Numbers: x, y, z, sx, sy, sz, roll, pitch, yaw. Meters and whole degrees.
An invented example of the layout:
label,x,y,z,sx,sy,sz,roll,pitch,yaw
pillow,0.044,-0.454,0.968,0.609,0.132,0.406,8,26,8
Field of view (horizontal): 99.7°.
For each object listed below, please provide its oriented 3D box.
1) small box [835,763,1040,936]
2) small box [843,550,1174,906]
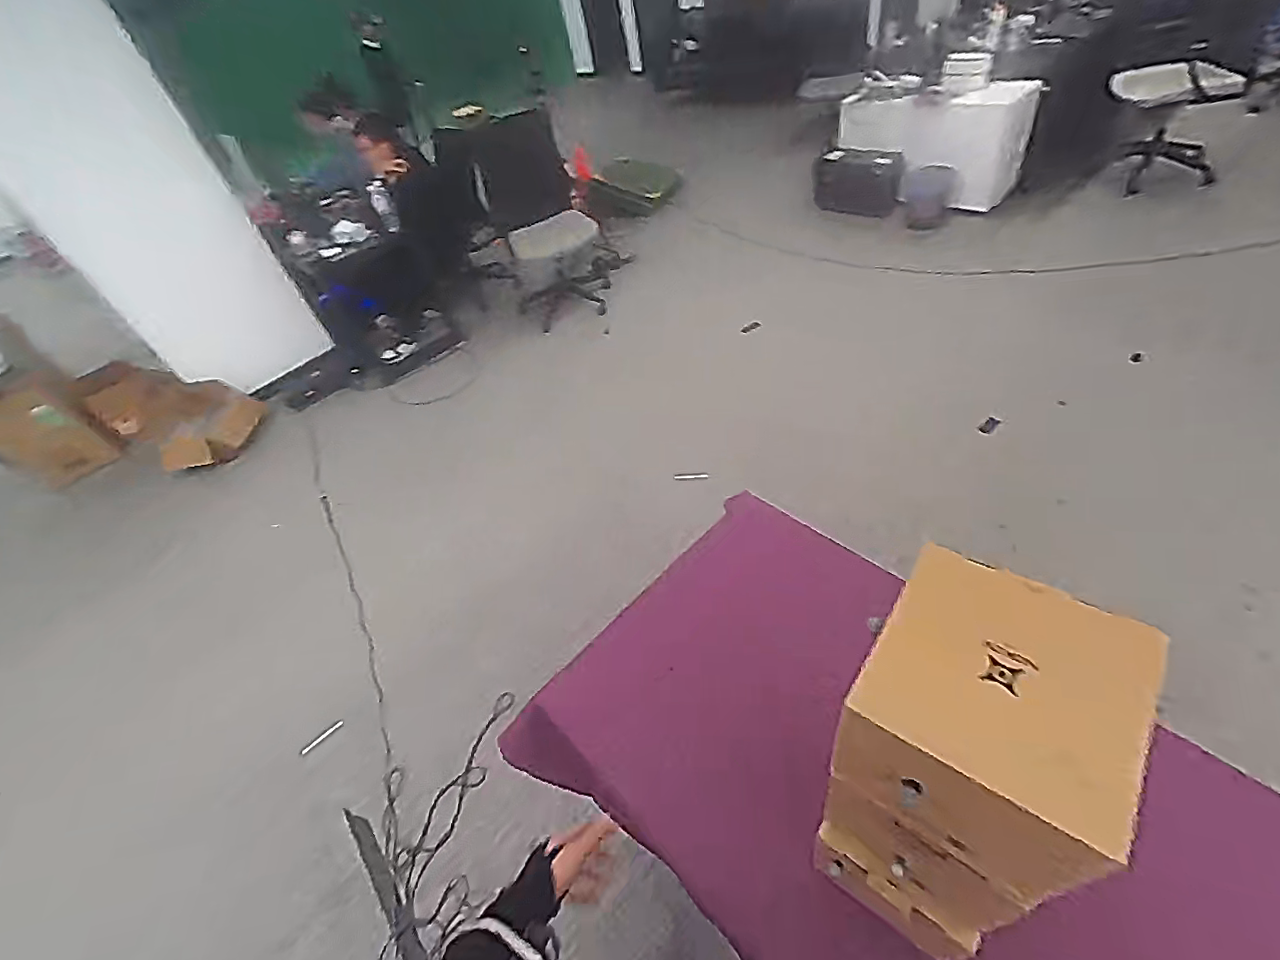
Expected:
label,x,y,z,sx,sy,sz,roll,pitch,yaw
small box,0.314,0.311,0.552,0.168,0.176,0.179,26,57,35
small box,0.279,0.197,0.441,0.168,0.176,0.179,23,54,33
